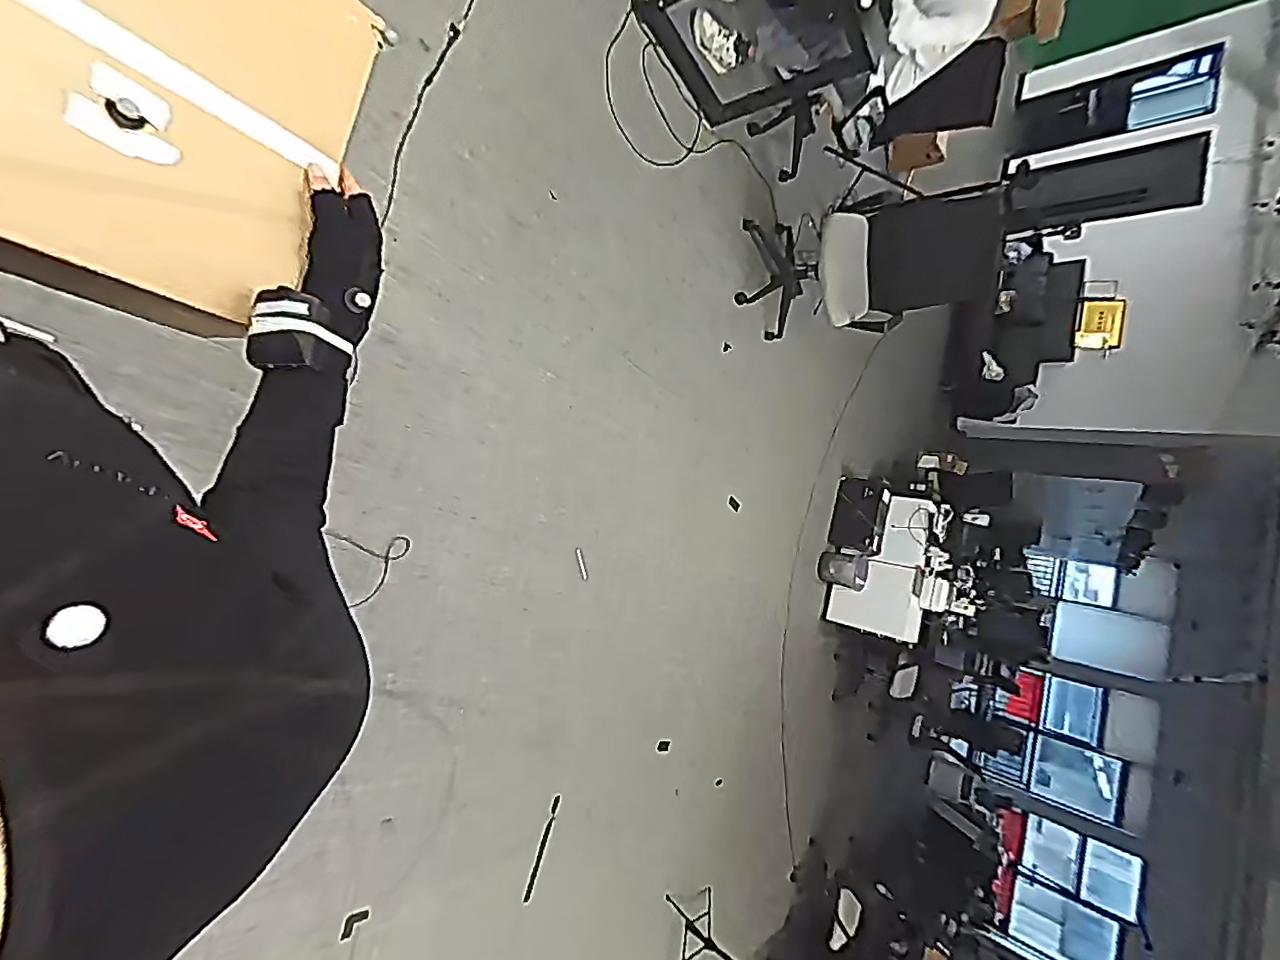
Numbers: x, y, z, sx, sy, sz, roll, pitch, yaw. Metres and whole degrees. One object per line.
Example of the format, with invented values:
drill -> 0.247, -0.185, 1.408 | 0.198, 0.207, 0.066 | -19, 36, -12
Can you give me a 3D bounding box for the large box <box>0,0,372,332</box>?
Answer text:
large box -> -0.522, -0.344, 0.442 | 0.408, 0.320, 0.320 | 19, 86, -52
